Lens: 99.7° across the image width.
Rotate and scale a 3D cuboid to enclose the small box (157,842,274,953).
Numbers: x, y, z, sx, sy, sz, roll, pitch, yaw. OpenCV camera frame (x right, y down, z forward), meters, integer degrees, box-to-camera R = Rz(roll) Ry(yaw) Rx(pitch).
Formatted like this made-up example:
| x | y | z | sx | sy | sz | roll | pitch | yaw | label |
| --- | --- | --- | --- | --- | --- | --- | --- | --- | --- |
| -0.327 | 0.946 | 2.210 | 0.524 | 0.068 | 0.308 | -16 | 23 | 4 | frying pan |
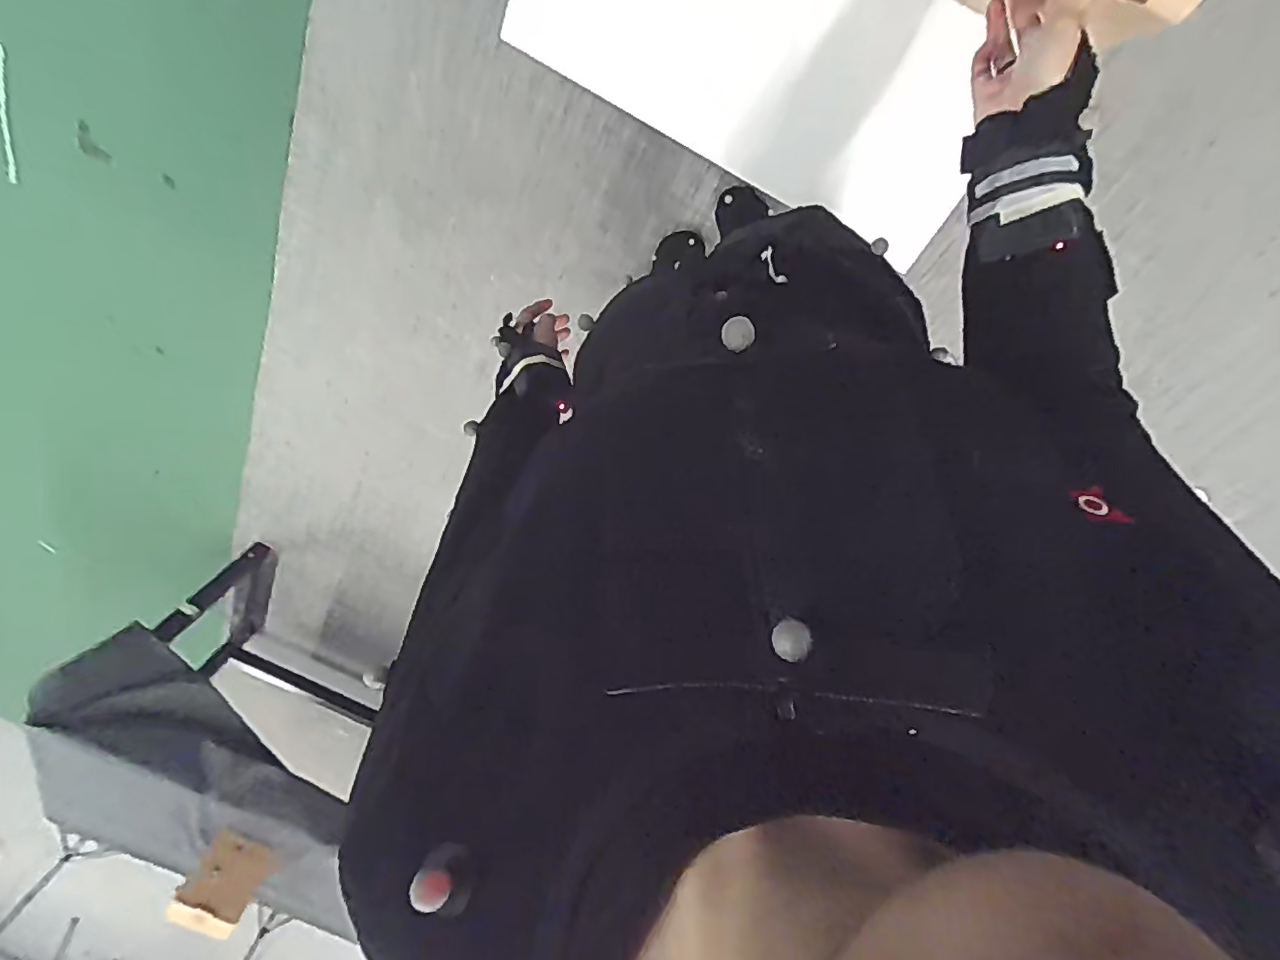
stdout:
| x | y | z | sx | sy | sz | roll | pitch | yaw | label |
| --- | --- | --- | --- | --- | --- | --- | --- | --- | --- |
| -1.099 | 1.084 | 1.410 | 0.168 | 0.176 | 0.179 | 34 | 122 | -9 | small box |
